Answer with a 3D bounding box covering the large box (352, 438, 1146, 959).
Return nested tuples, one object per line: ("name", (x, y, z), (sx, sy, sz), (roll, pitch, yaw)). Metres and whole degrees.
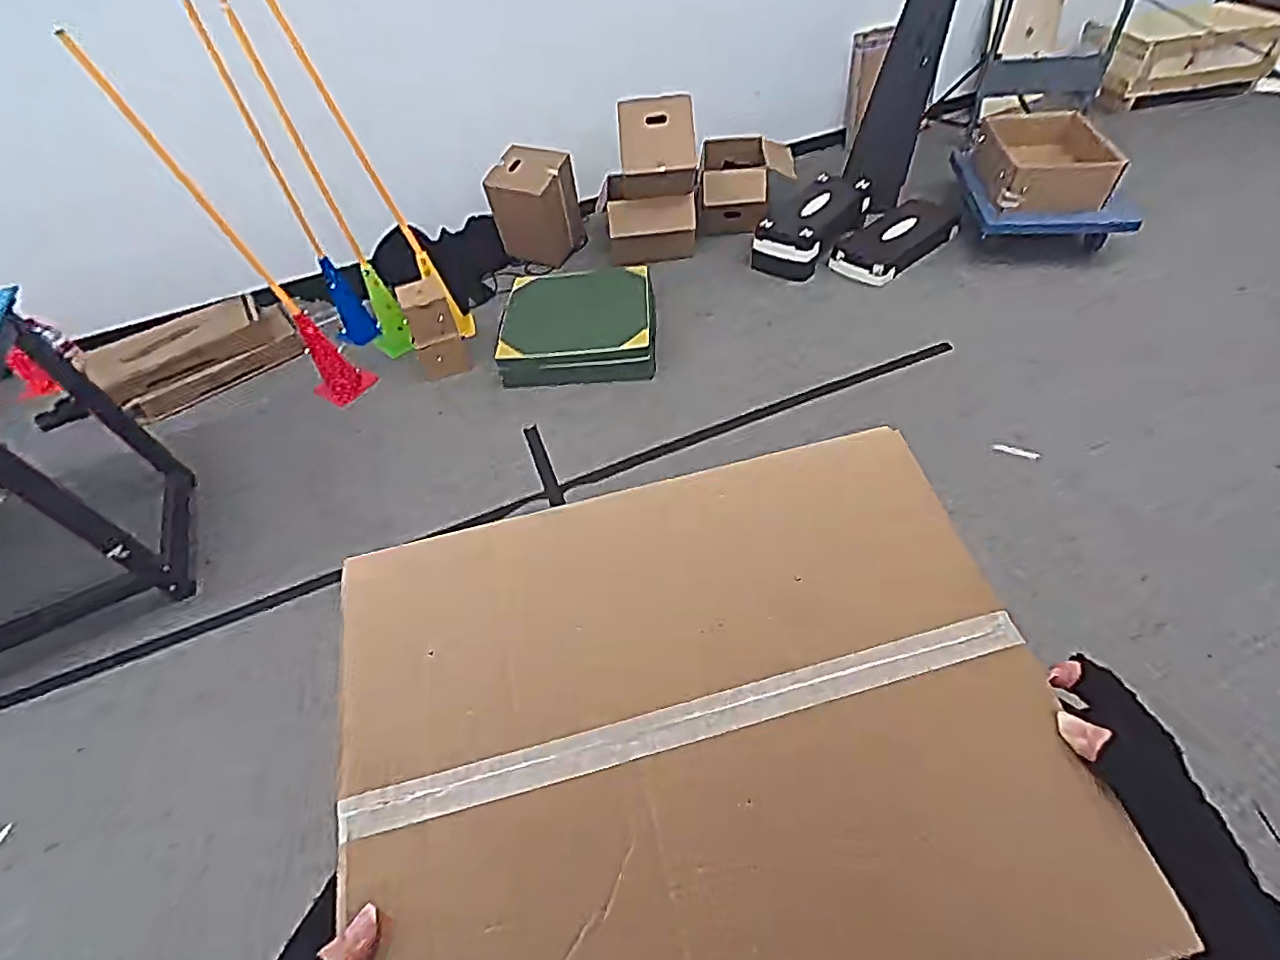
("large box", (0.037, 0.215, 0.454), (0.408, 0.320, 0.320), (-14, 61, -4))
